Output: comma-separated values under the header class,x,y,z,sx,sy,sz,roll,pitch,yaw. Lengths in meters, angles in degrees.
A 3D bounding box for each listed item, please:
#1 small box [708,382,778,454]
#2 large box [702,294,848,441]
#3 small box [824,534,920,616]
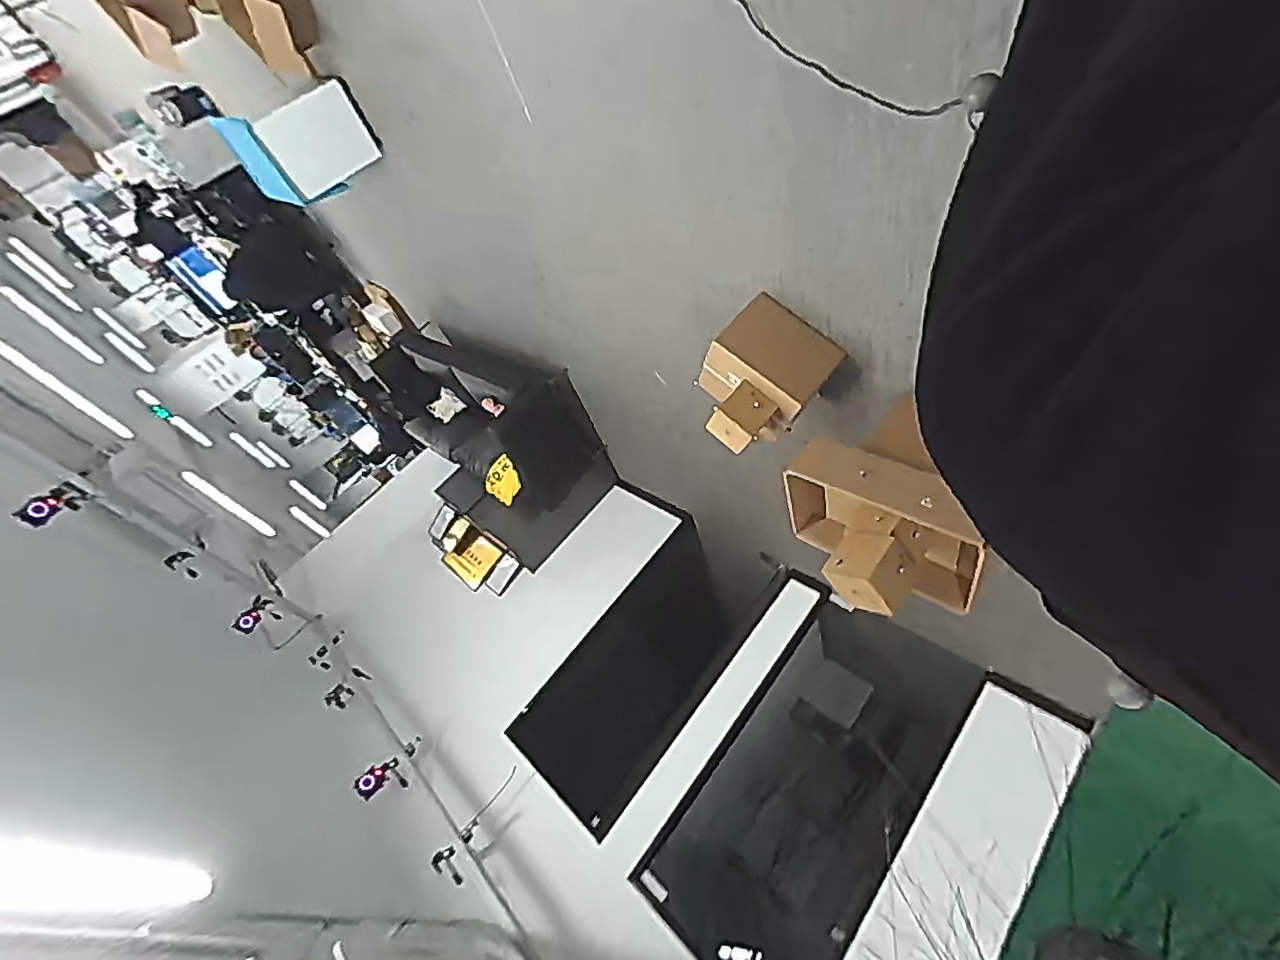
class,x,y,z,sx,sy,sz,roll,pitch,yaw
small box,0.386,-0.231,2.020,0.168,0.176,0.179,41,162,6
large box,0.510,-0.430,2.098,0.408,0.320,0.320,41,161,10
small box,0.709,0.281,1.649,0.168,0.176,0.179,49,159,-19
